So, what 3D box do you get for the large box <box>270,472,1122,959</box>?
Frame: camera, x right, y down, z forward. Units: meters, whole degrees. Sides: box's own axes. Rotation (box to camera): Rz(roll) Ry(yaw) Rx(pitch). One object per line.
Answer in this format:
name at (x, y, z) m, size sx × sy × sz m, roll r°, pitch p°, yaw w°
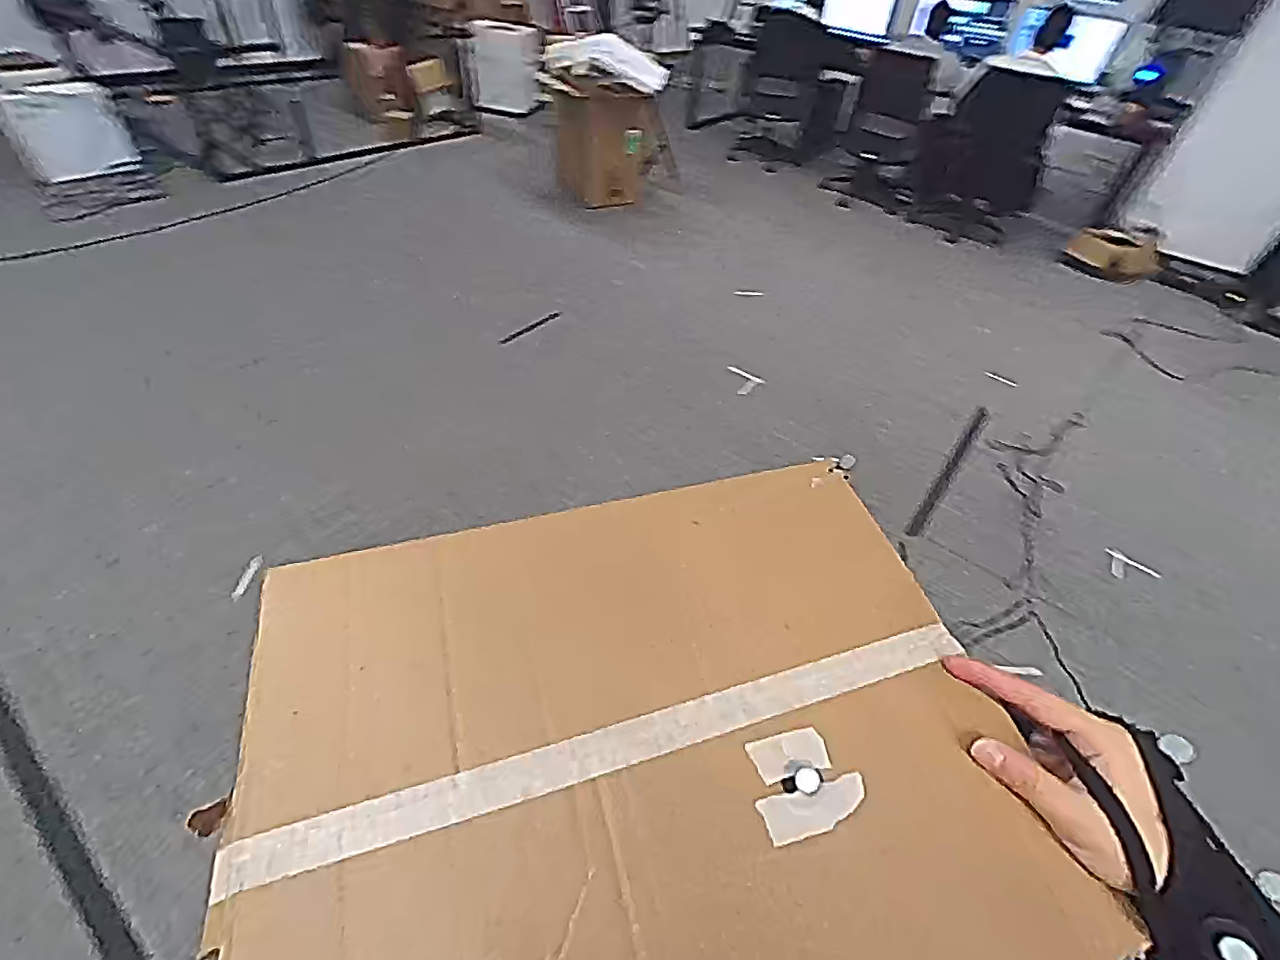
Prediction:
large box at (0.000, 0.237, 0.423) m, size 0.408 × 0.320 × 0.320 m, roll -10°, pitch 55°, yaw -15°
